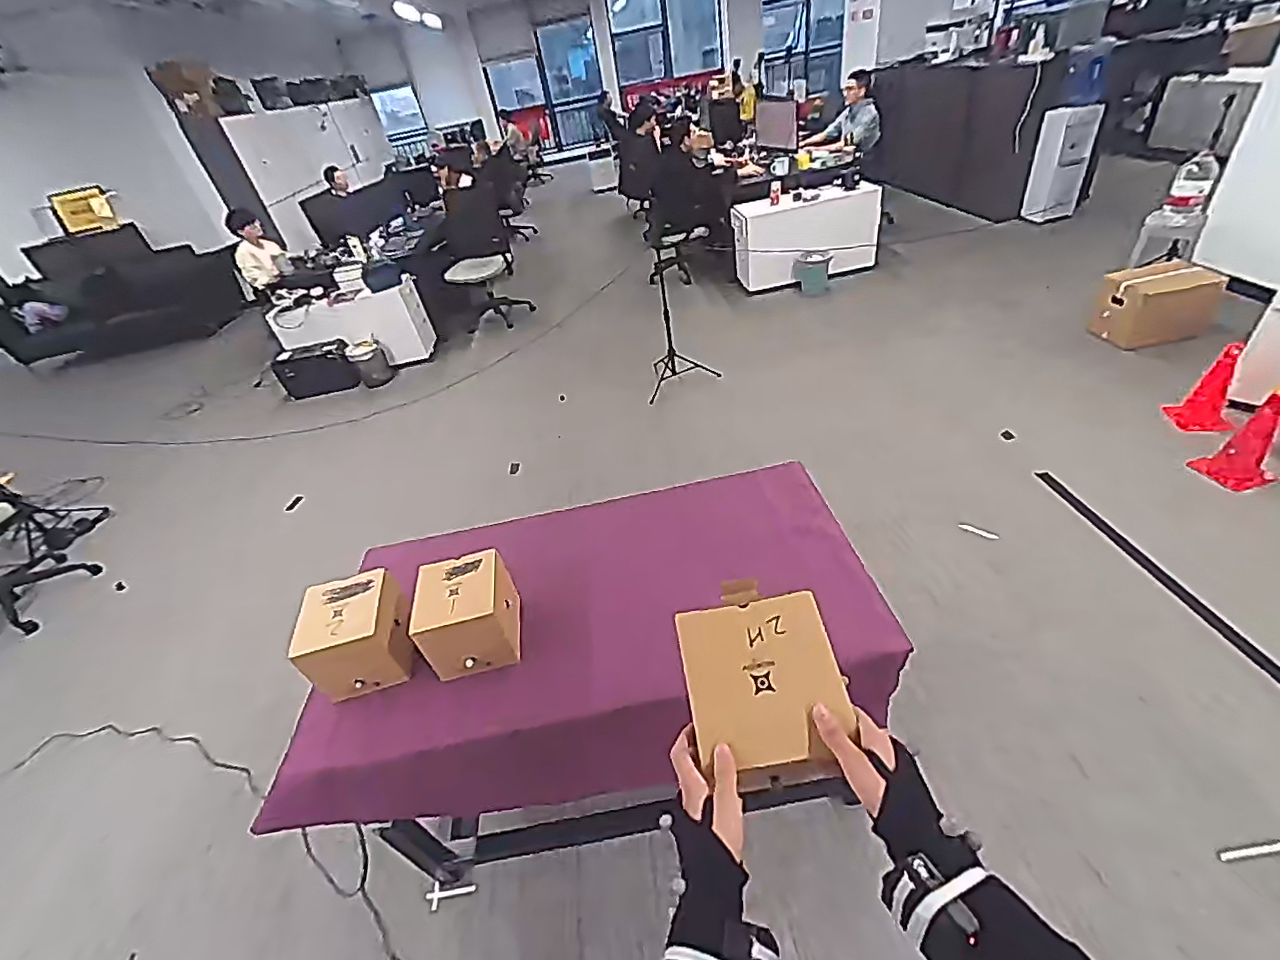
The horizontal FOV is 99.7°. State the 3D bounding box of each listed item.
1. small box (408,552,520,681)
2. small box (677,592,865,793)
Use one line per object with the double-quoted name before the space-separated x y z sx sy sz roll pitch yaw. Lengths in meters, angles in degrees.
"small box" -0.354 0.282 1.122 0.168 0.176 0.179 -15 39 -2
"small box" 0.144 0.258 0.641 0.168 0.176 0.179 -11 52 2
